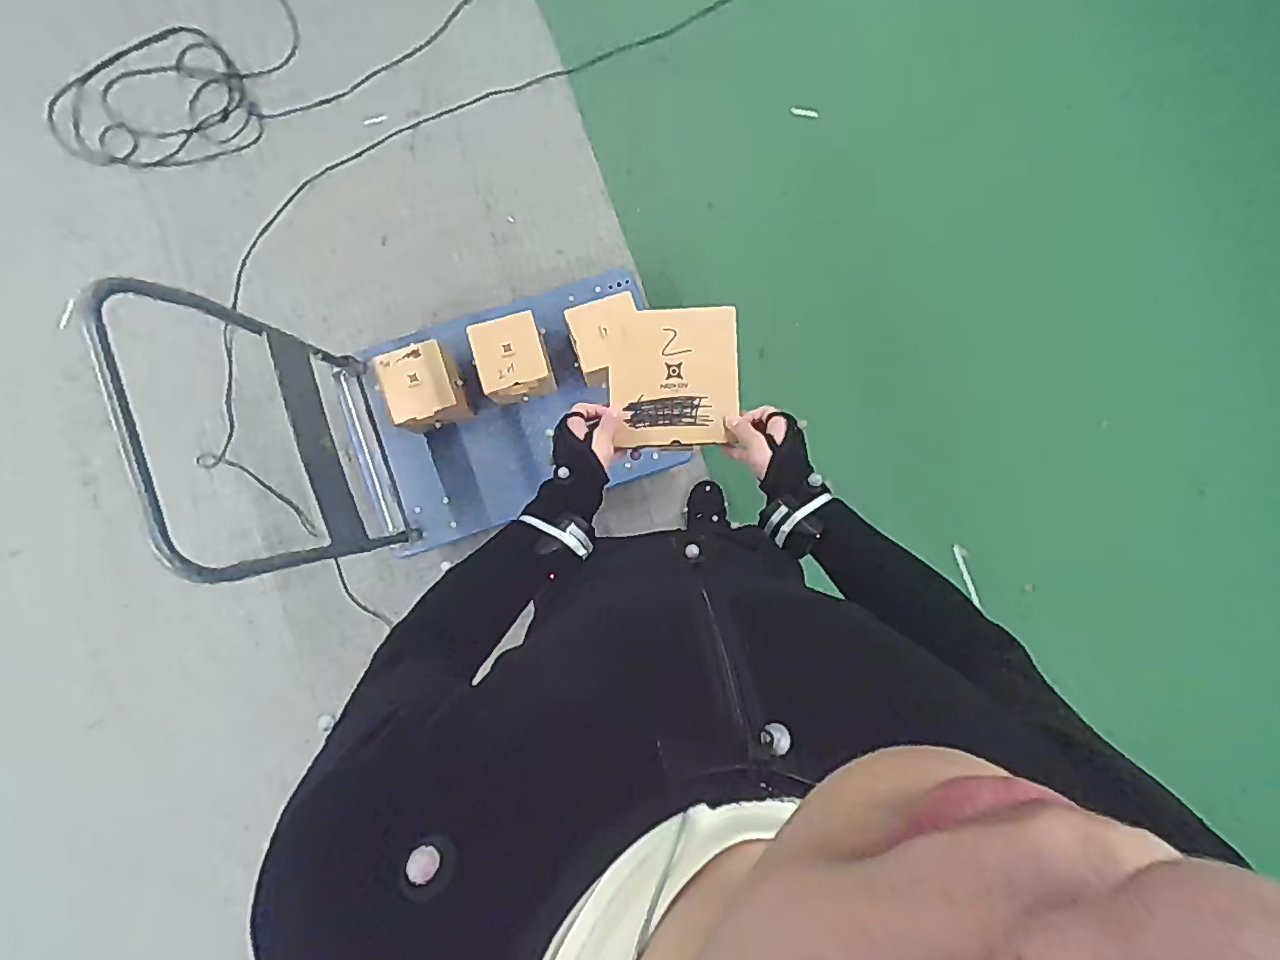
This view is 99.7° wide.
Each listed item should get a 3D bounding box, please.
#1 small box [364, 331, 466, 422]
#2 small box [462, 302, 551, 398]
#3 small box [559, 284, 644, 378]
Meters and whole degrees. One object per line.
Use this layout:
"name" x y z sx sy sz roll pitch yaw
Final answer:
"small box" -0.558 -0.251 1.367 0.168 0.176 0.179 -17 89 -3
"small box" -0.334 -0.326 1.380 0.168 0.176 0.179 -15 89 -2
"small box" -0.094 -0.375 1.393 0.179 0.176 0.168 -17 90 -3
